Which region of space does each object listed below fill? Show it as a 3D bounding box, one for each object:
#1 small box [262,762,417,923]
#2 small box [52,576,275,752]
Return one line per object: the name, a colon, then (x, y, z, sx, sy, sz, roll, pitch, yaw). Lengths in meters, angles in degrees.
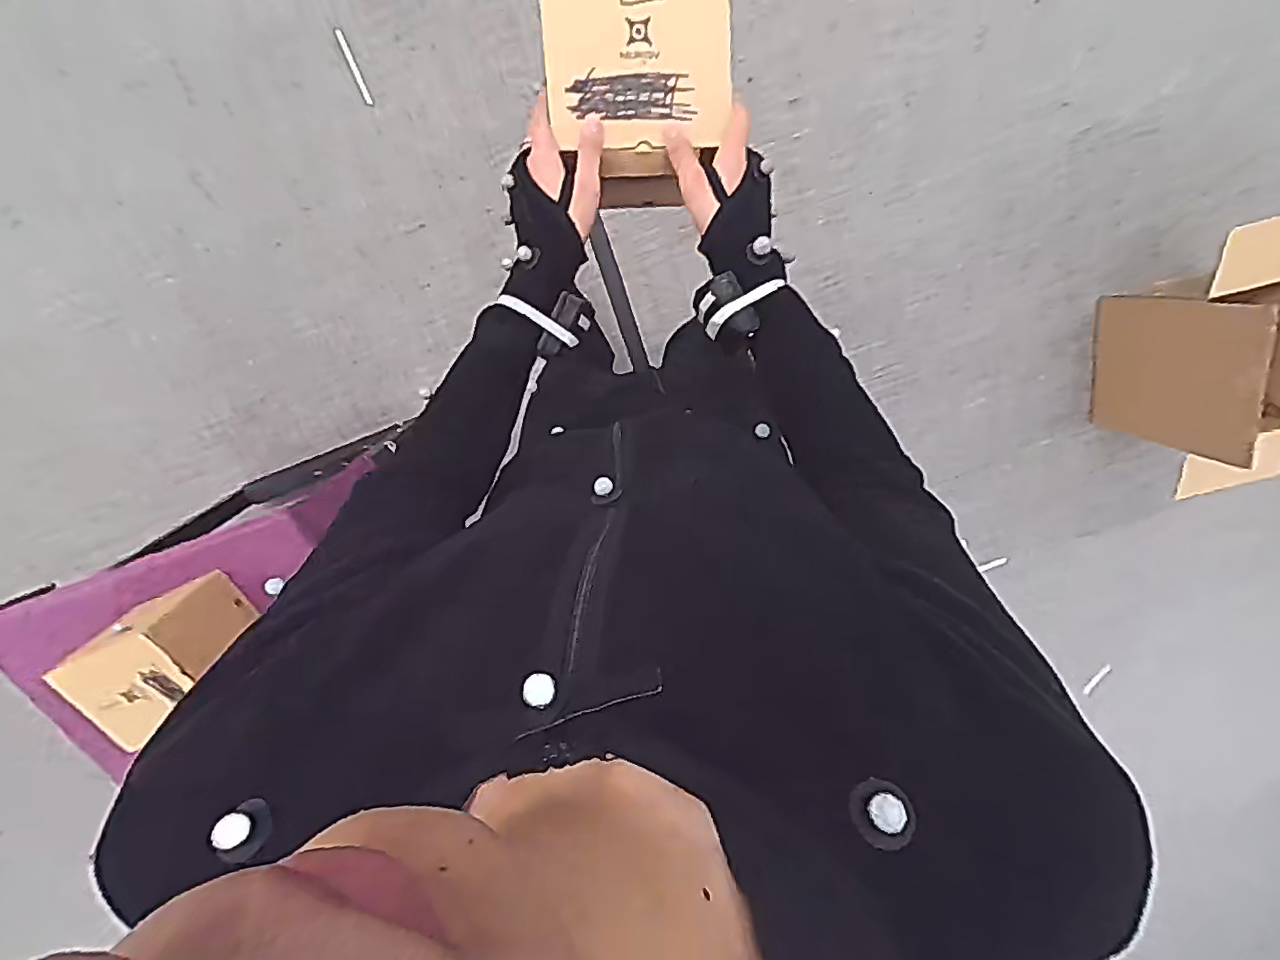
small box: (-0.551, 0.679, 1.028, 0.179, 0.176, 0.168, -28, 110, 7)
small box: (-0.727, 0.281, 0.857, 0.179, 0.176, 0.168, -24, 111, 6)
